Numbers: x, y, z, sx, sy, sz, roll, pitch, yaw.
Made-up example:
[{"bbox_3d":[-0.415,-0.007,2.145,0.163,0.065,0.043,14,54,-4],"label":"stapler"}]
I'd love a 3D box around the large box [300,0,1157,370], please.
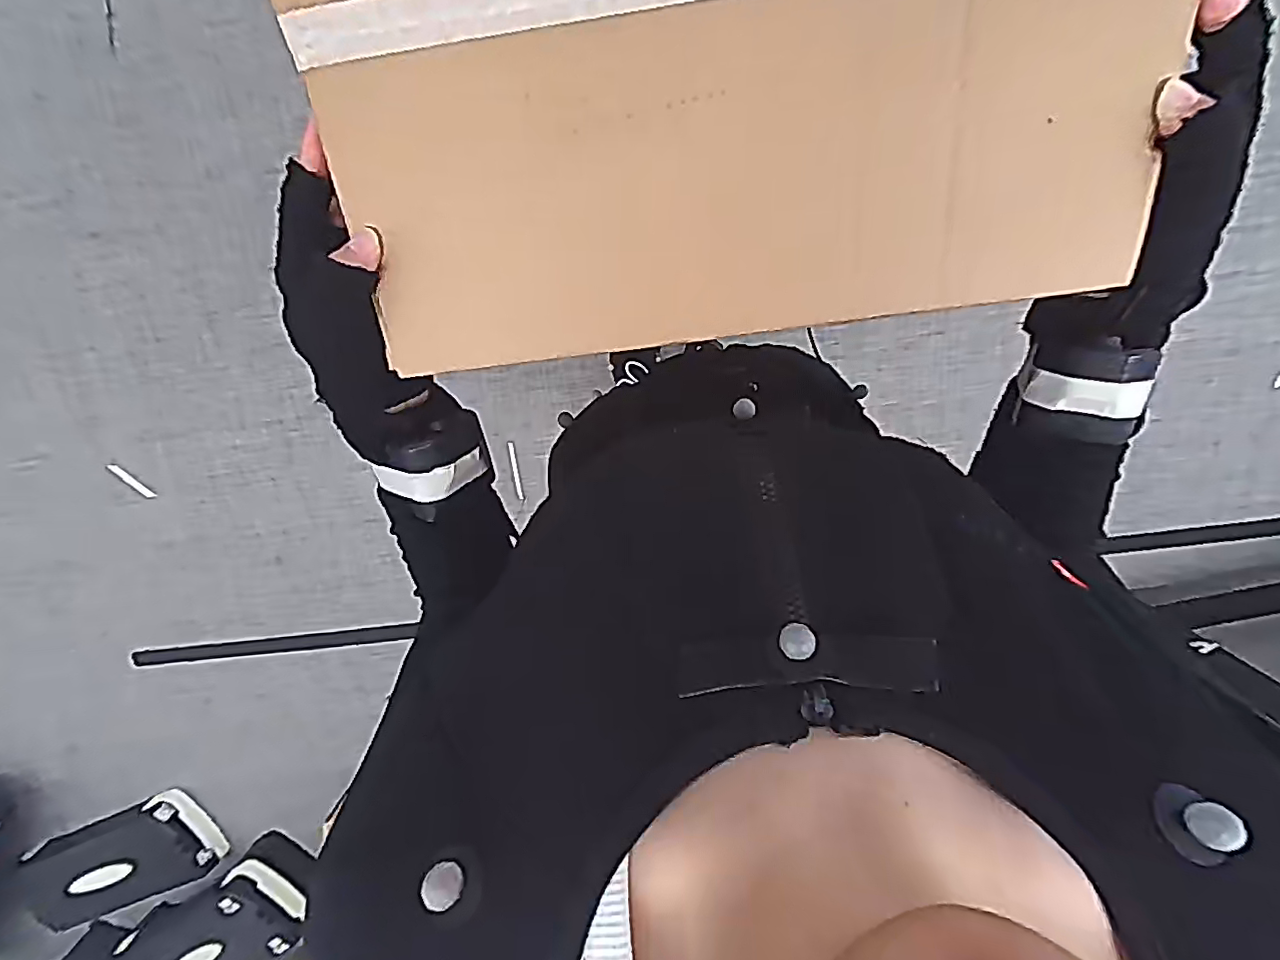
[{"bbox_3d":[0.038,-0.287,0.389,0.408,0.320,0.320,-7,114,4],"label":"large box"}]
